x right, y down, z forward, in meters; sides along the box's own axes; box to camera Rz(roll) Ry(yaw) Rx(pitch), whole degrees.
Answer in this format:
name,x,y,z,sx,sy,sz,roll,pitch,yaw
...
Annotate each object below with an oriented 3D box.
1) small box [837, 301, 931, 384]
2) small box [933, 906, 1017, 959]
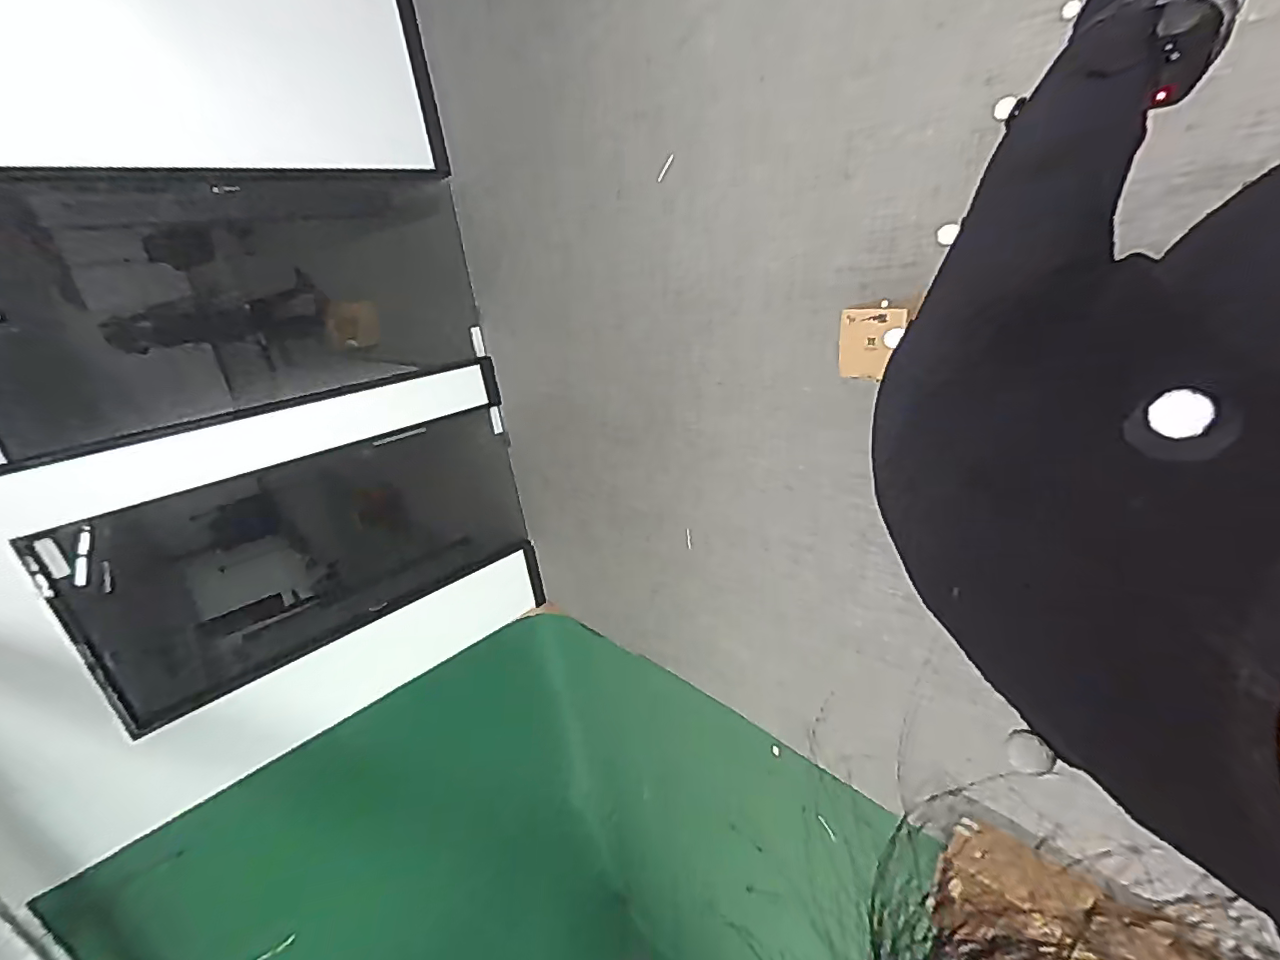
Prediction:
name,x,y,z,sx,sy,sz,roll,pitch,yaw
small box,0.628,-0.360,1.393,0.168,0.176,0.179,18,122,44
small box,0.968,1.411,1.574,0.168,0.176,0.179,21,122,42
